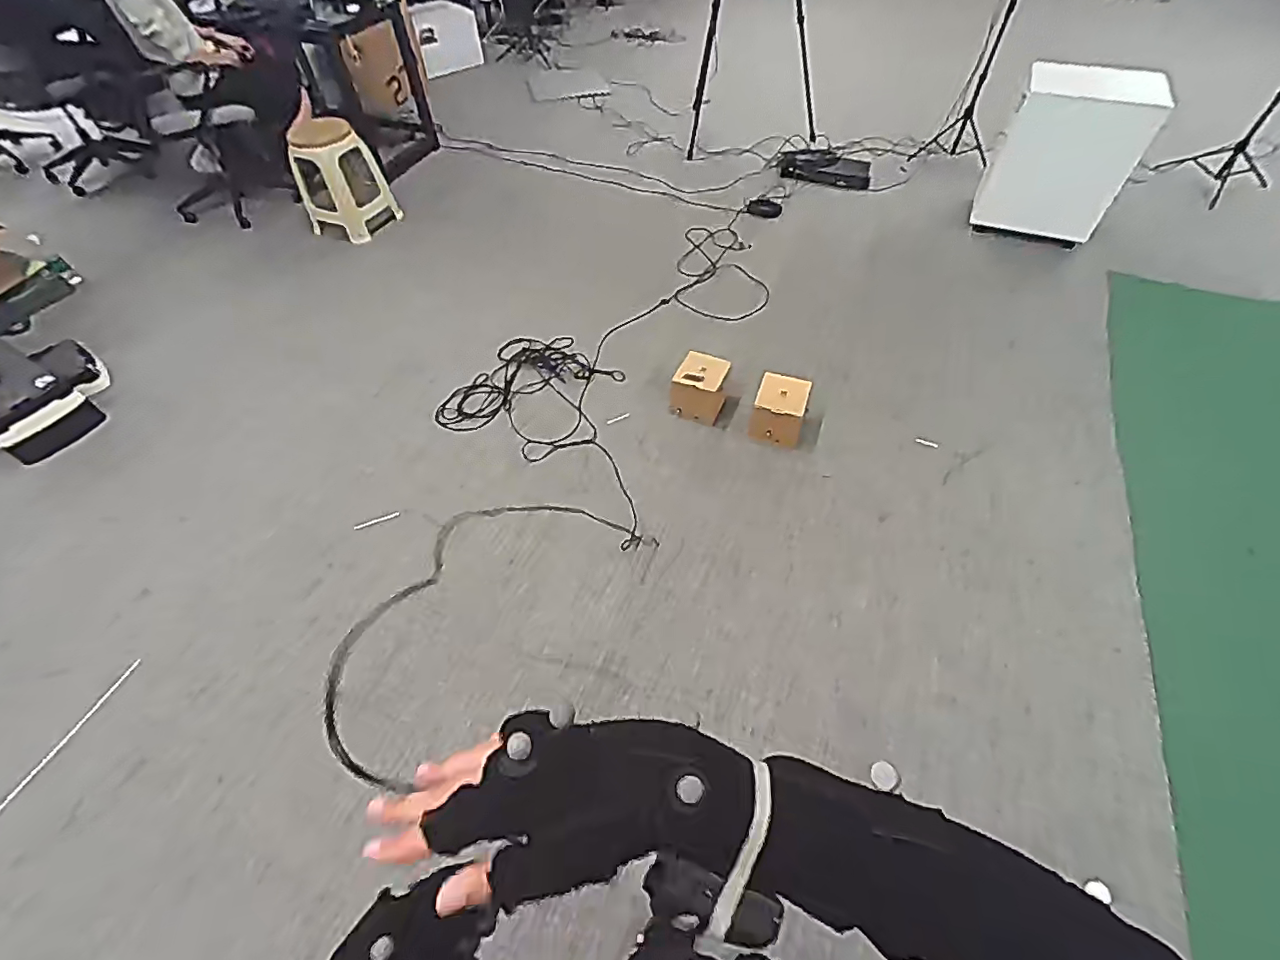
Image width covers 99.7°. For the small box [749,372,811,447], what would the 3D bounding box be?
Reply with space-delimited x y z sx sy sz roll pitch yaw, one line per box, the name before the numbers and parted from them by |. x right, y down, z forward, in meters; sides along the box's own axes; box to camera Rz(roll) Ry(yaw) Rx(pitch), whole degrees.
small box | 0.489 -0.248 1.902 0.168 0.176 0.179 16 56 14

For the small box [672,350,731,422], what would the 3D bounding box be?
small box | 0.224 -0.341 1.979 0.168 0.176 0.179 20 56 16
